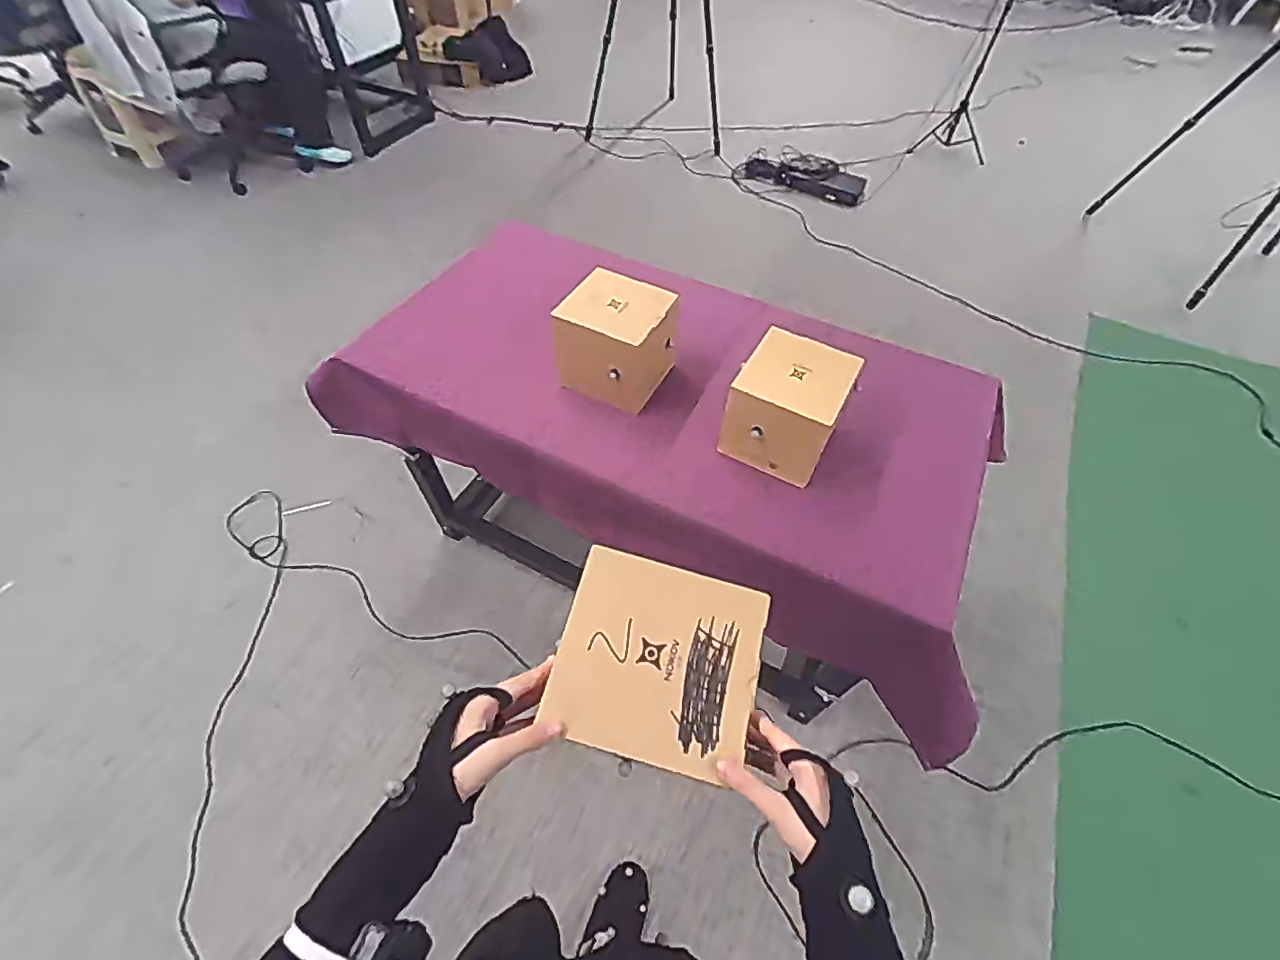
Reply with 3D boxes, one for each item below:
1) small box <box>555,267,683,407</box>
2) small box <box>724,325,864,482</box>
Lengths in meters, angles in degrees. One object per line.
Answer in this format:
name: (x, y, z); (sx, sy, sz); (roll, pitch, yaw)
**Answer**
small box: (-0.037, -0.264, 1.019); (0.179, 0.176, 0.168); (24, 56, 15)
small box: (0.255, -0.127, 0.930); (0.168, 0.176, 0.179); (26, 57, 16)
